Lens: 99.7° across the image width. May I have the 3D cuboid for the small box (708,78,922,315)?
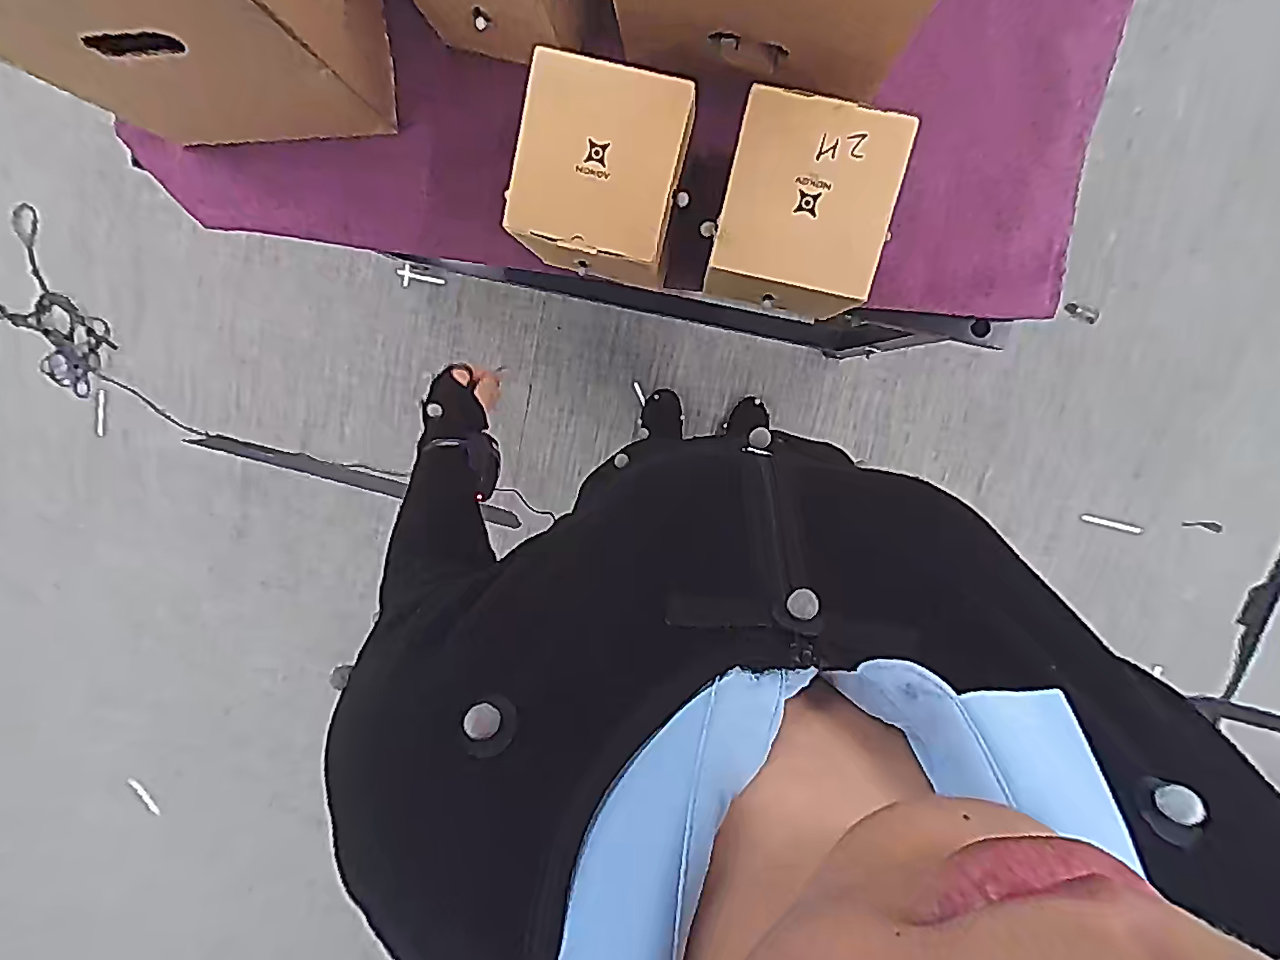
[{"bbox_3d":[0.176,-0.296,0.608,0.168,0.176,0.179,14,100,2],"label":"small box"}]
